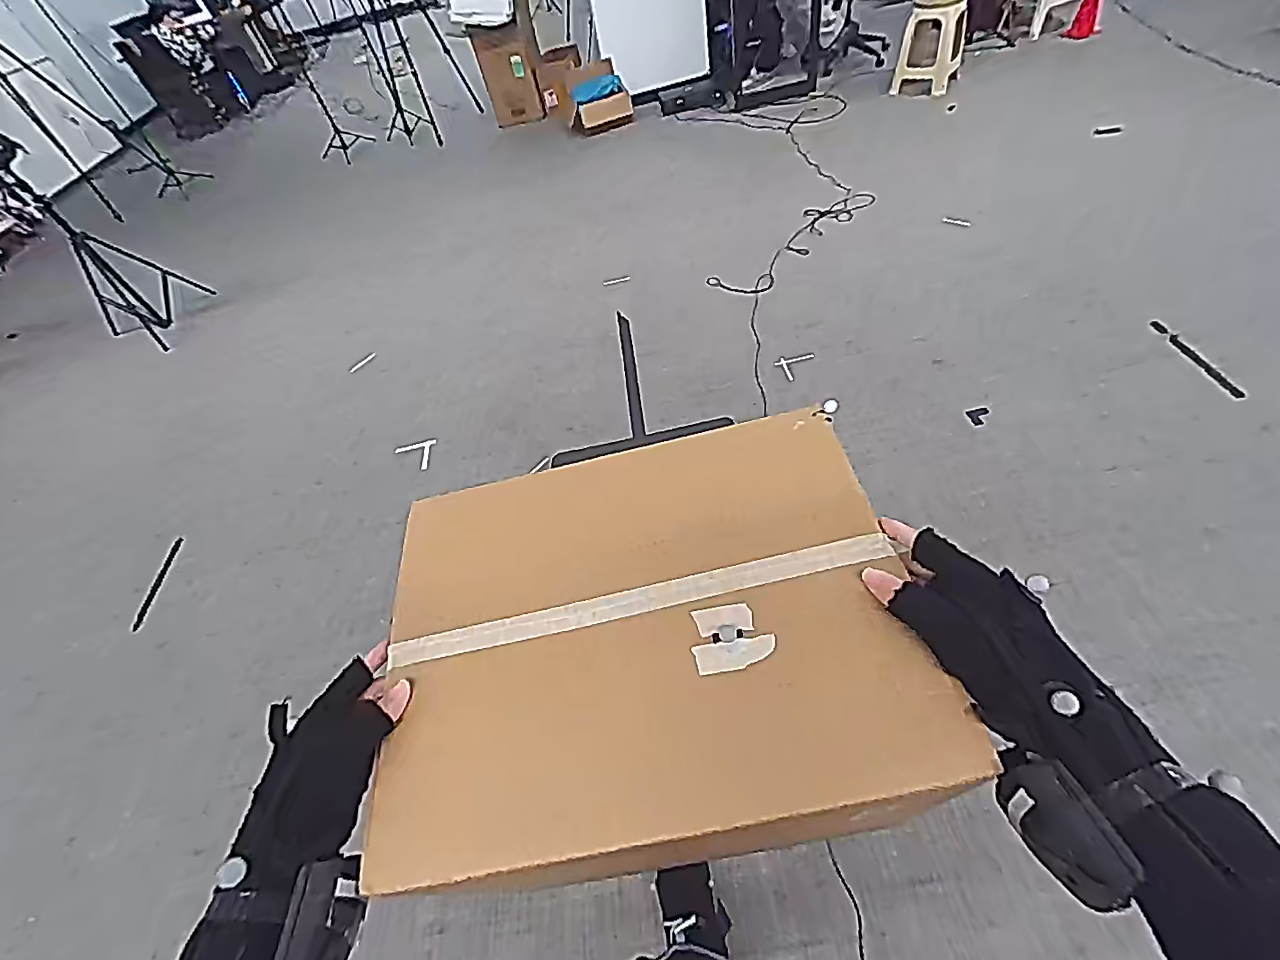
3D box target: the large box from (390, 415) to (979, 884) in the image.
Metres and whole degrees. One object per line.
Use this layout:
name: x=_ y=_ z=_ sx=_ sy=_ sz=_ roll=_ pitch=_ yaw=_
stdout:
large box: x=0.028 y=0.188 z=0.557 sx=0.408 sy=0.320 sz=0.320 roll=-13 pitch=52 yaw=3
